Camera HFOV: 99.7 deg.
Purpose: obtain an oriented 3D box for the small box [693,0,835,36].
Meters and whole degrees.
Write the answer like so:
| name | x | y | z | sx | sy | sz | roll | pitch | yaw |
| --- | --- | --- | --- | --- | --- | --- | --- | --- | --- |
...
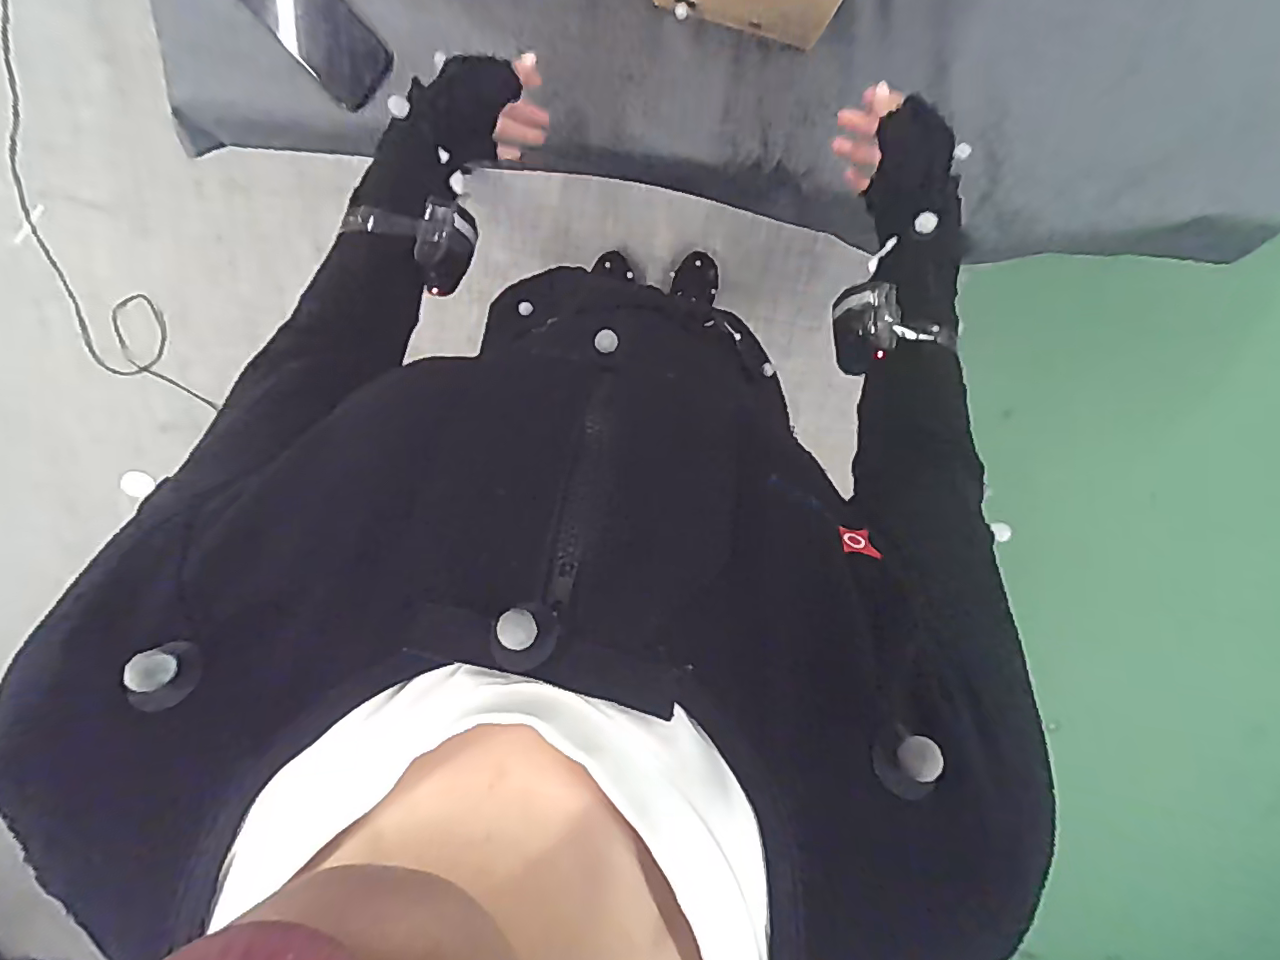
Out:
| name | x | y | z | sx | sy | sz | roll | pitch | yaw |
| --- | --- | --- | --- | --- | --- | --- | --- | --- | --- |
| small box | 0.110 | -0.497 | 0.424 | 0.168 | 0.176 | 0.179 | 15 | 112 | -2 |
